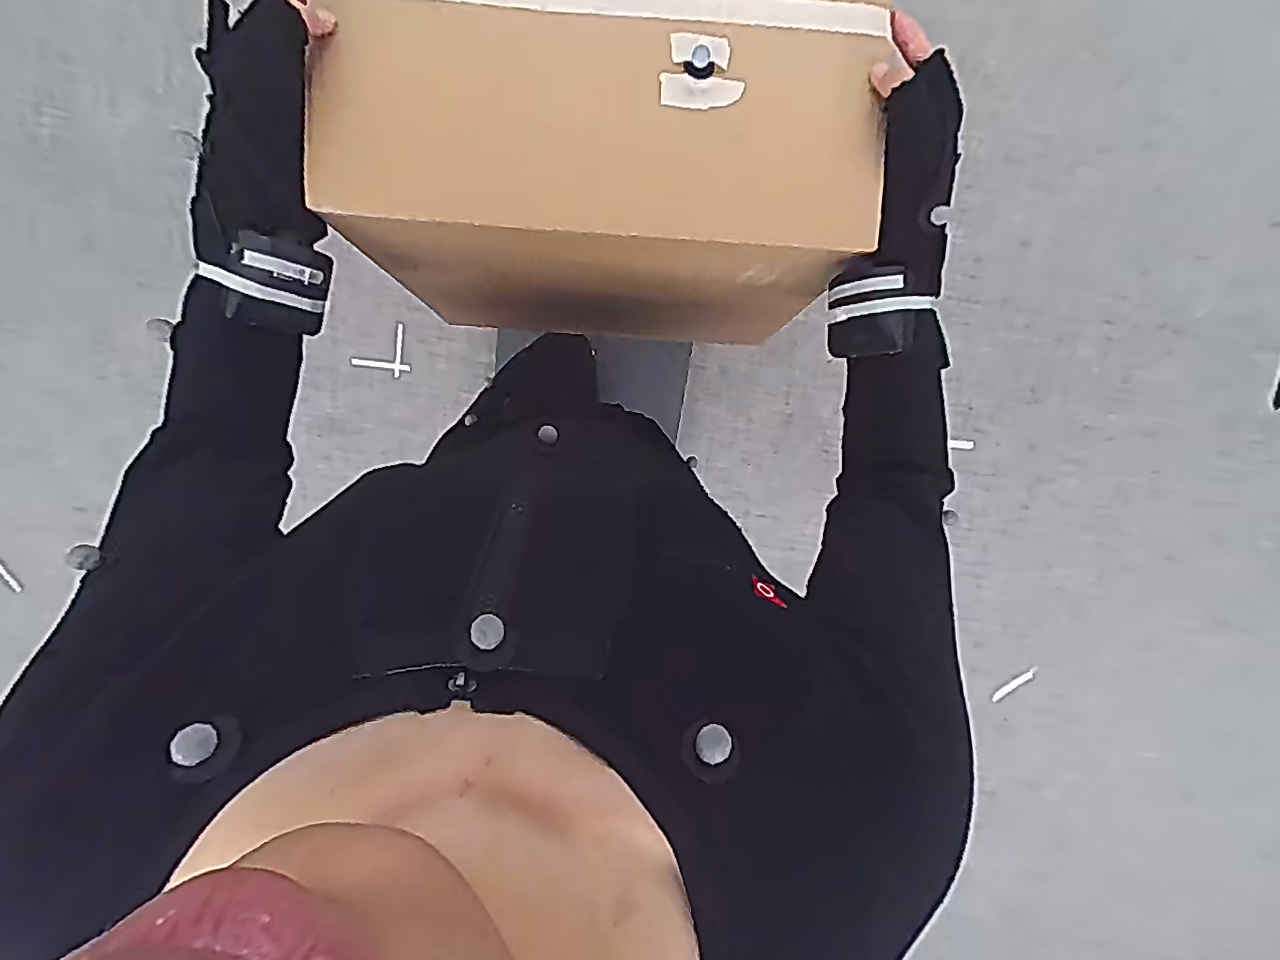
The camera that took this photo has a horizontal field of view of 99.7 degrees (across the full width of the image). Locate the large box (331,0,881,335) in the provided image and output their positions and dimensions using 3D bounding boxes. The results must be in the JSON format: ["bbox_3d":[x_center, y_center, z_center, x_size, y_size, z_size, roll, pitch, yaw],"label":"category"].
[{"bbox_3d":[-0.028,-0.344,0.544,0.408,0.320,0.320,3,92,-3],"label":"large box"}]
